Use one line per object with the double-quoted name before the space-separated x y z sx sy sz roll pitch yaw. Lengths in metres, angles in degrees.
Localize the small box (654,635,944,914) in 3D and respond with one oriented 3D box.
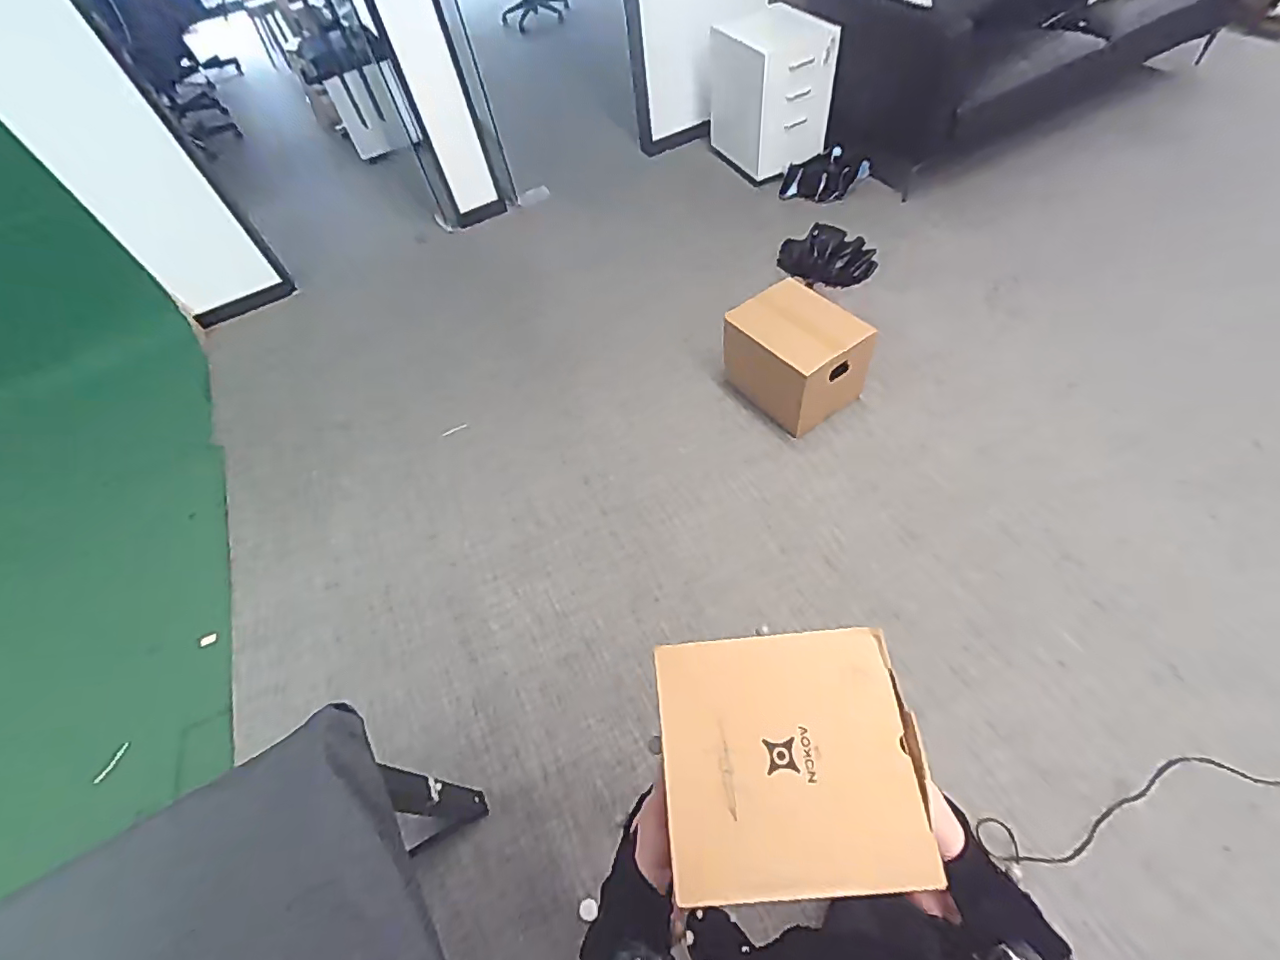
"small box" 0.108 0.232 0.451 0.179 0.176 0.168 -7 64 3
